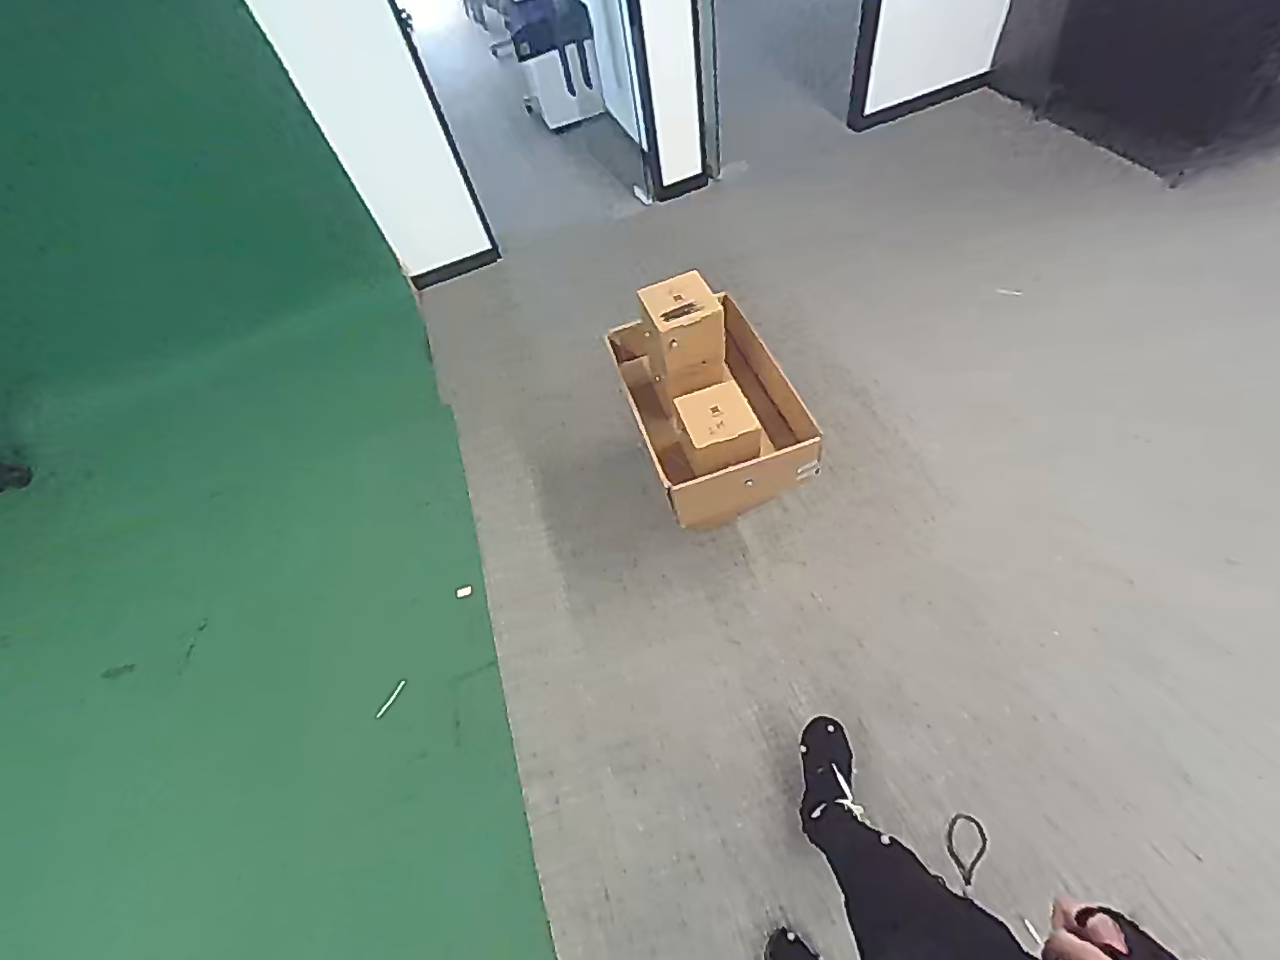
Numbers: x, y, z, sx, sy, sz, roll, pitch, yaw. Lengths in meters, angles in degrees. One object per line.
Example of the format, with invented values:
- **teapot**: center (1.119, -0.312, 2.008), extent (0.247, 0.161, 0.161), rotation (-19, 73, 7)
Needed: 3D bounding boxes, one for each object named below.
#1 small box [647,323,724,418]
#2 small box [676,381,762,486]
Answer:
- **small box**: center (0.131, -0.306, 1.531), extent (0.168, 0.176, 0.179), rotation (-20, 56, -3)
- **small box**: center (0.200, -0.115, 1.378), extent (0.168, 0.176, 0.179), rotation (-19, 54, -1)
